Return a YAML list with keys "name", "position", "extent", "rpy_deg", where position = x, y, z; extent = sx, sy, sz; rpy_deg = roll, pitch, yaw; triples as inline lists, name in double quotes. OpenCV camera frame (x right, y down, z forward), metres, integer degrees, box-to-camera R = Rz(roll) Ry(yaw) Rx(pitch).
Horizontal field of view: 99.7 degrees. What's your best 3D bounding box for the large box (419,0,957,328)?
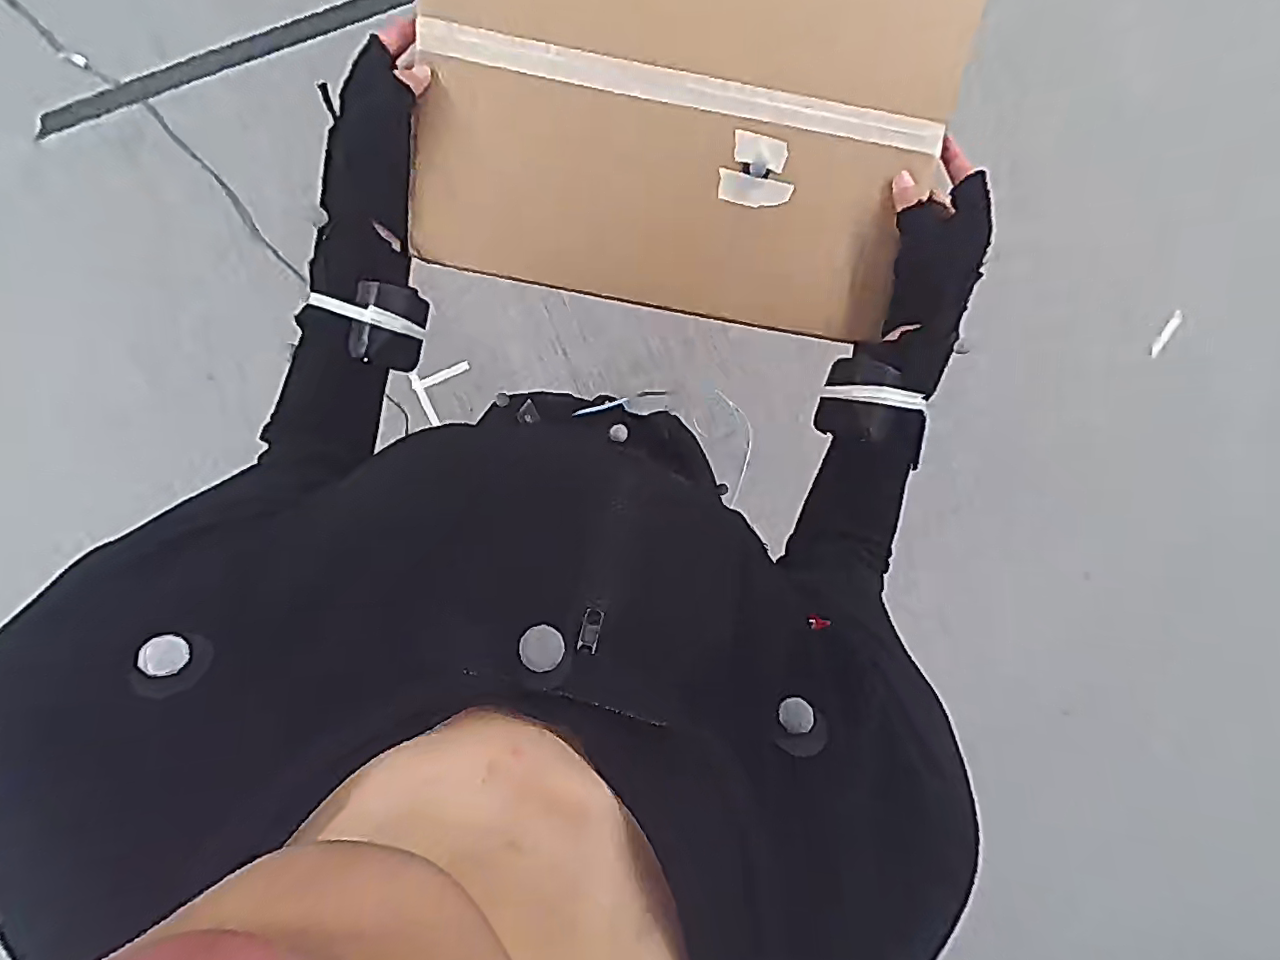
- name: "large box"
  position: [0.027, -0.349, 0.565]
  extent: [0.408, 0.320, 0.320]
  rpy_deg: [9, 108, -3]
